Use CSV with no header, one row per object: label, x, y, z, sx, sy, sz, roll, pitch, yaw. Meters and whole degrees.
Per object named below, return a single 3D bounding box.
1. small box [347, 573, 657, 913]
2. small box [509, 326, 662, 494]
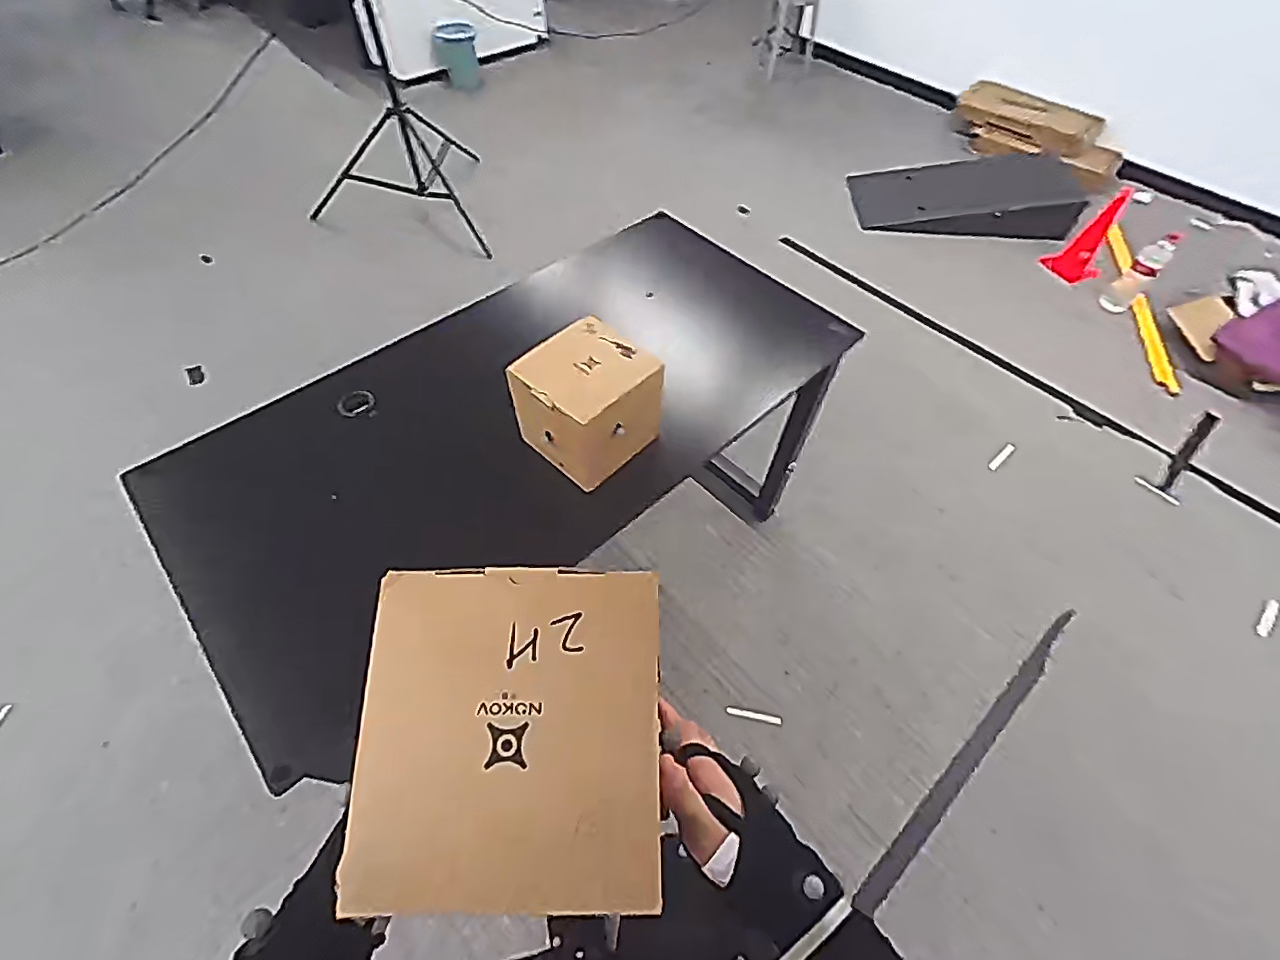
small box,-0.072,0.165,0.381,0.168,0.176,0.179,0,71,-1
small box,-0.081,-0.109,0.878,0.168,0.176,0.179,38,63,22
